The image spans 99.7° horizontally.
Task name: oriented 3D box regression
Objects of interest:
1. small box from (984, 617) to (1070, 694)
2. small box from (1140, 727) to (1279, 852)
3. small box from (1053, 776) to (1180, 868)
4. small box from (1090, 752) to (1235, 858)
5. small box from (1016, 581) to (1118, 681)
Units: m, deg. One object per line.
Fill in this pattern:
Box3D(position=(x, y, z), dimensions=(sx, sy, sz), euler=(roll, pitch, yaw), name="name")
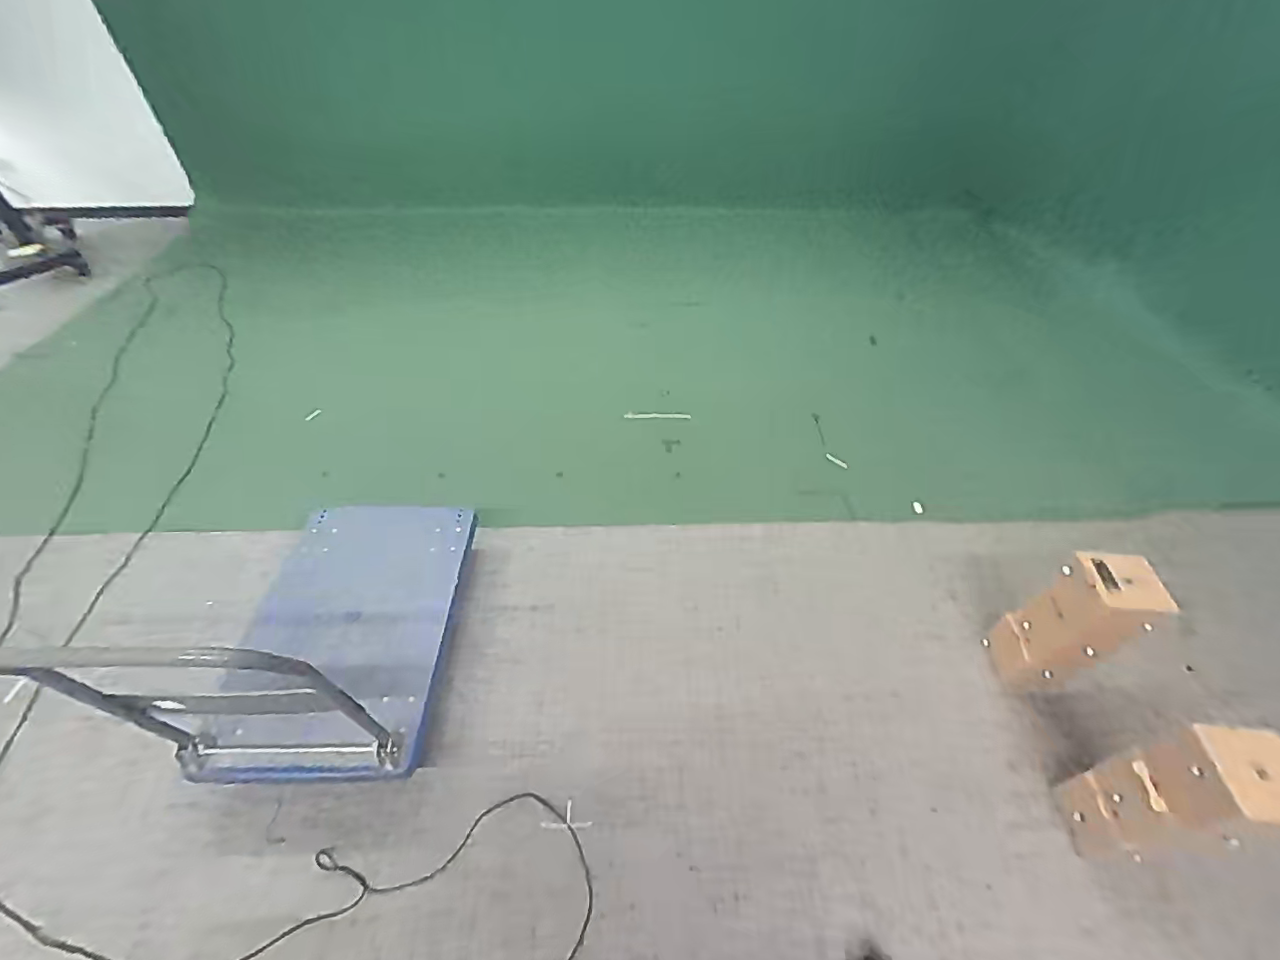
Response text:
Box3D(position=(1.190, 0.540, 1.652), dimensions=(0.179, 0.176, 0.168), euler=(5, 47, 2), name="small box")
Box3D(position=(1.197, 0.635, 1.108), dimensions=(0.168, 0.176, 0.179), euler=(5, 46, 4), name="small box")
Box3D(position=(1.182, 0.856, 1.350), dimensions=(0.179, 0.176, 0.168), euler=(2, 47, 1), name="small box")
Box3D(position=(1.195, 0.742, 1.231), dimensions=(0.179, 0.176, 0.168), euler=(5, 46, 4), name="small box")
Box3D(position=(1.212, 0.432, 1.541), dimensions=(0.168, 0.176, 0.179), euler=(27, 51, 25), name="small box")
